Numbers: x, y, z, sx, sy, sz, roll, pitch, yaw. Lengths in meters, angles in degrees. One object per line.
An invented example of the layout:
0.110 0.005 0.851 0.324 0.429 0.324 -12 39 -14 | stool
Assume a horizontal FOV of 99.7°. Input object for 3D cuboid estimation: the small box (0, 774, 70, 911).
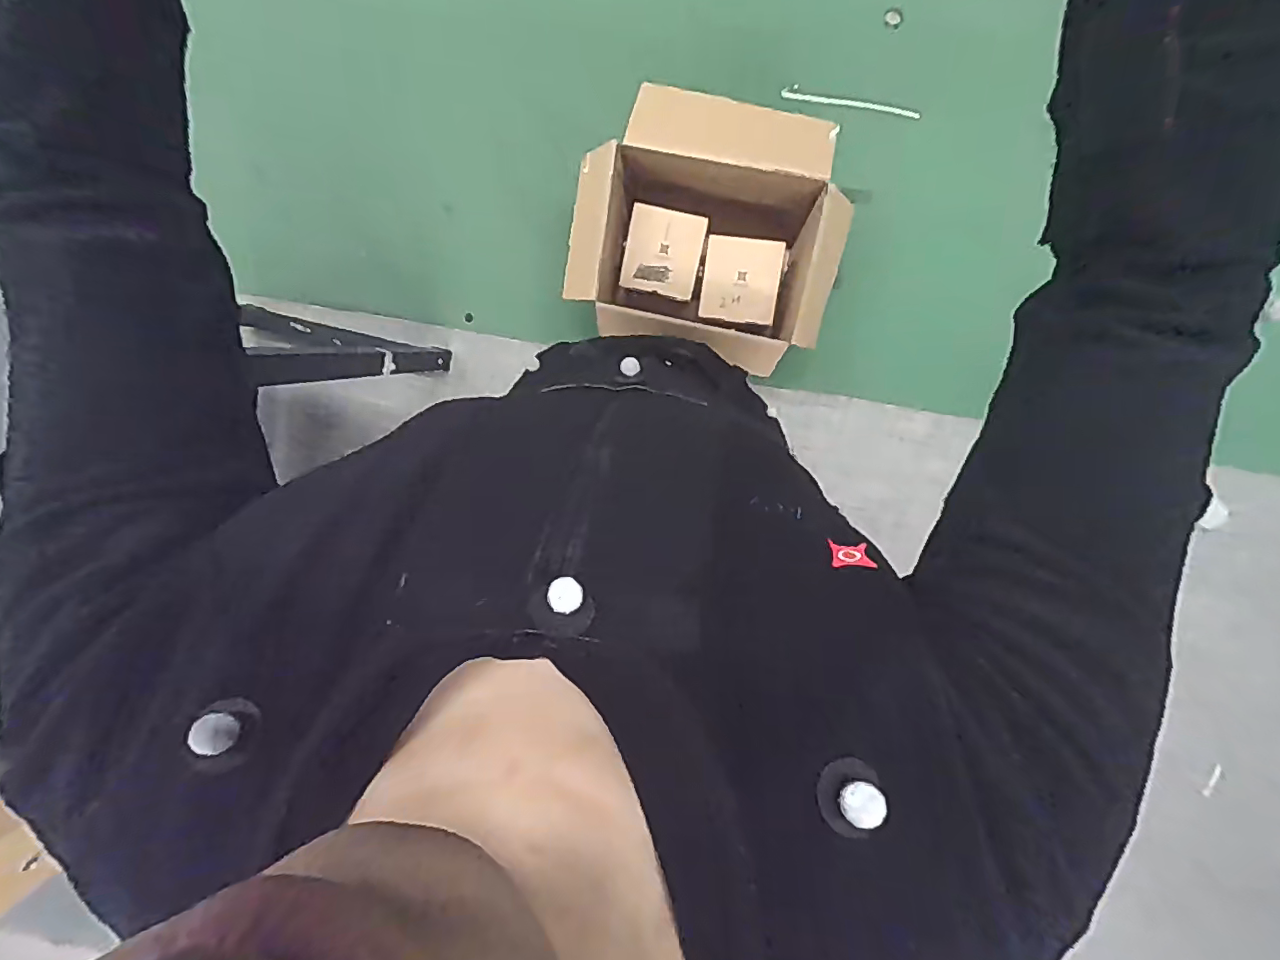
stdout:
-1.118 0.622 0.897 0.179 0.176 0.168 14 104 0 | small box
